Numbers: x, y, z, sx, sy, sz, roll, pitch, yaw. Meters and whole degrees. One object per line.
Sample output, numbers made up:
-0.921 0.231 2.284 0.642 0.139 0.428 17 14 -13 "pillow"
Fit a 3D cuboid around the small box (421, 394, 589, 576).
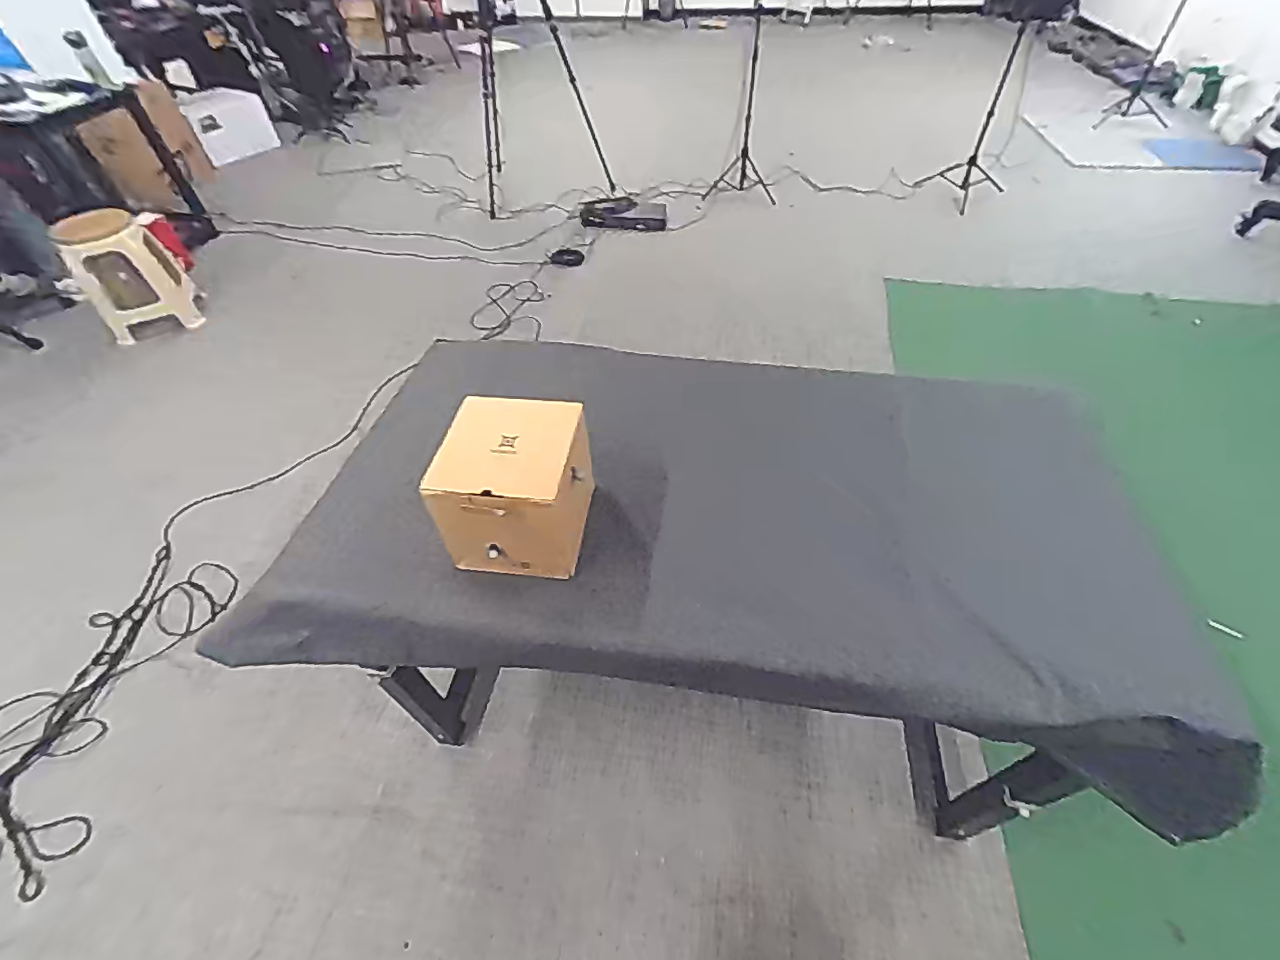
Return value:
-0.166 0.007 0.736 0.168 0.176 0.179 4 49 5 "small box"
